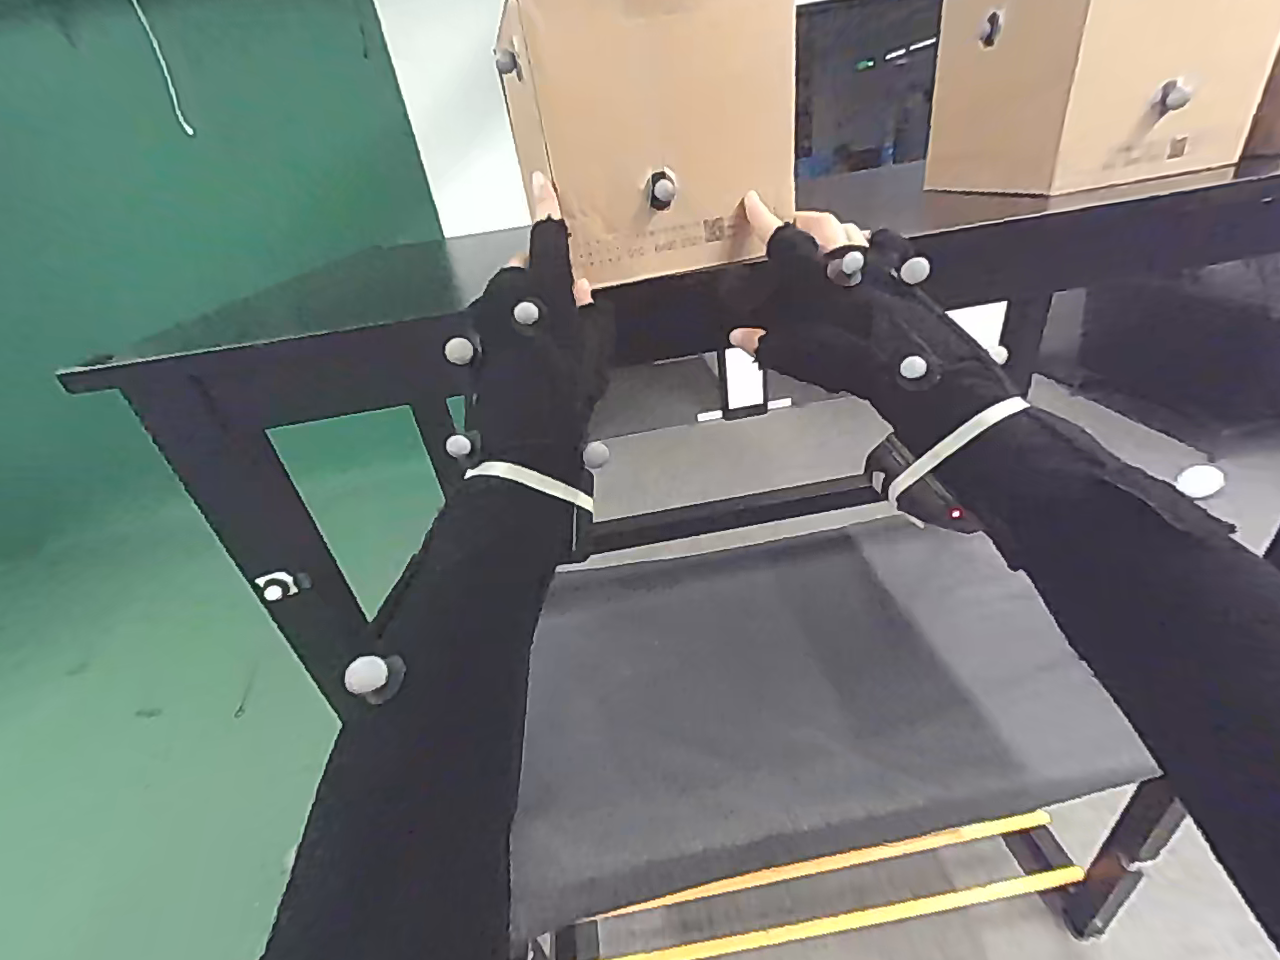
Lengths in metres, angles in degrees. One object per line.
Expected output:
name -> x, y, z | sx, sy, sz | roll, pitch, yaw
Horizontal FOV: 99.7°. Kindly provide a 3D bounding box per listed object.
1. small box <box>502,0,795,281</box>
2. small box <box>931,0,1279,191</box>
small box -> 0.000, -0.256, 0.409 | 0.168, 0.176, 0.179 | -15, 31, -10
small box -> 0.384, -0.356, 0.471 | 0.168, 0.176, 0.179 | -11, 30, -2
